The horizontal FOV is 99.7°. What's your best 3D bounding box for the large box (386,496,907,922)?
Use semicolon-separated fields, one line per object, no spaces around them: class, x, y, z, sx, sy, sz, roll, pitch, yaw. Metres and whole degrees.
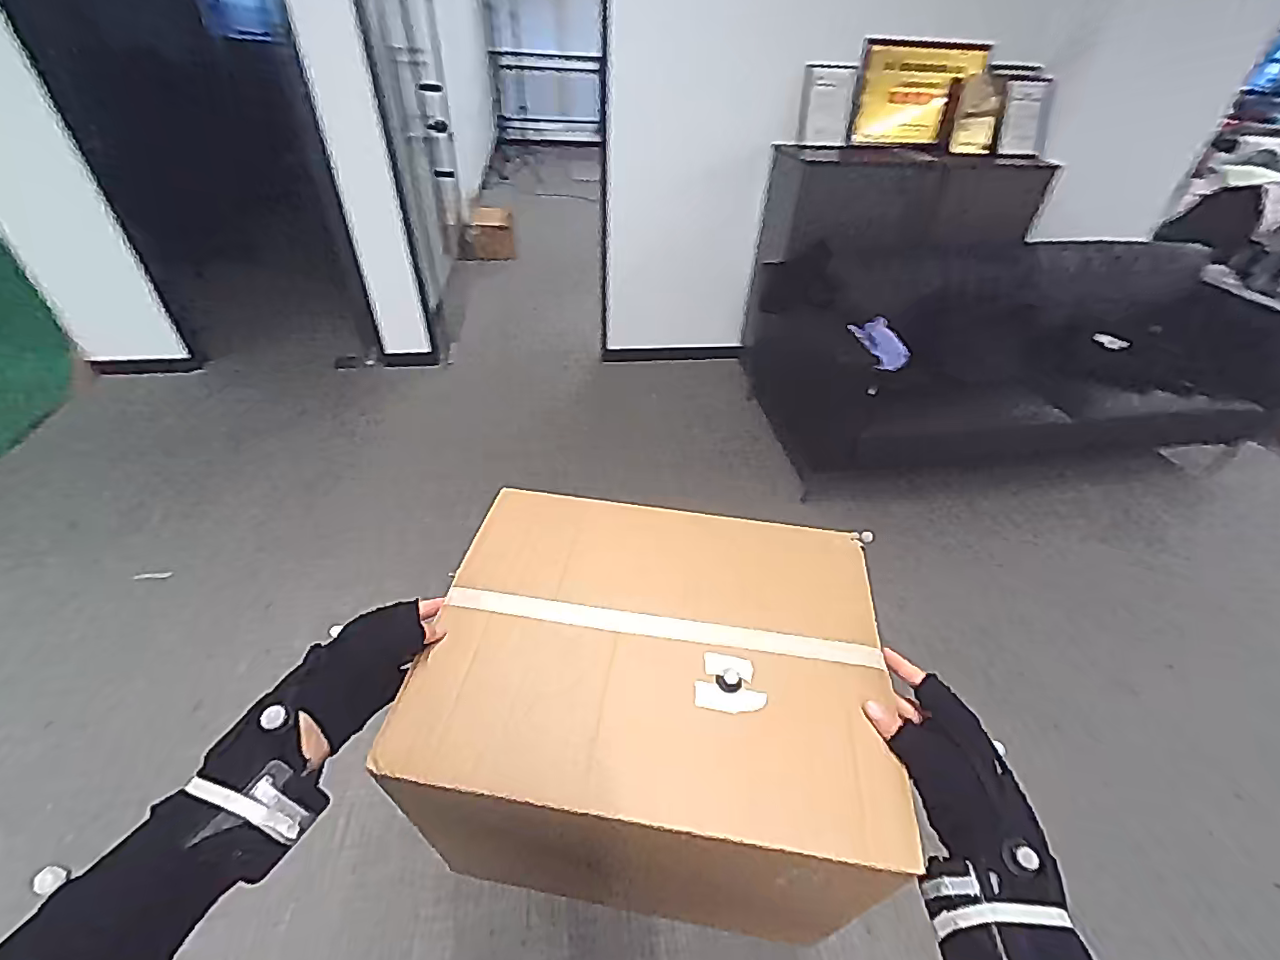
large box;0.011;0.249;0.610;0.408;0.320;0.320;6;43;5
